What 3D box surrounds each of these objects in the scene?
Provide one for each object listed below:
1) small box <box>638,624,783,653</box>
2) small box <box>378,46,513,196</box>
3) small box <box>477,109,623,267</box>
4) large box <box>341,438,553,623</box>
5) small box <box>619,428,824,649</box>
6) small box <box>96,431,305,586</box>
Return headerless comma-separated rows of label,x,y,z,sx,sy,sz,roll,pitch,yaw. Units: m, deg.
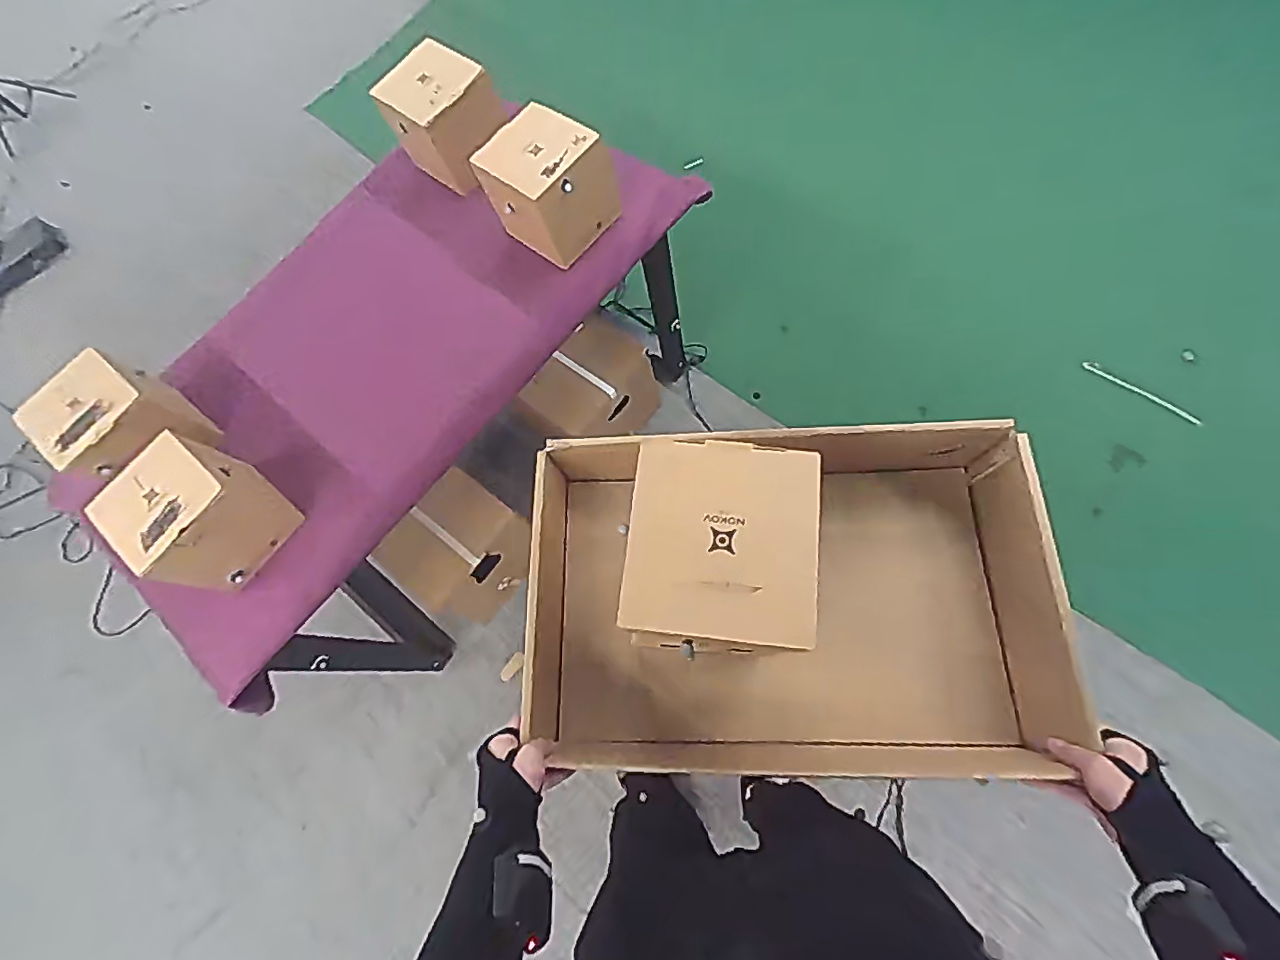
small box,0.087,0.126,0.700,0.168,0.176,0.179,3,72,4
small box,-0.383,-0.725,1.107,0.179,0.176,0.168,39,83,18
small box,-0.158,-0.532,1.001,0.179,0.176,0.168,38,82,22
large box,-0.524,0.153,1.529,0.408,0.320,0.320,34,78,20
small box,0.078,0.068,0.547,0.168,0.176,0.179,7,72,6
small box,-0.699,0.056,0.880,0.179,0.176,0.168,34,78,20
